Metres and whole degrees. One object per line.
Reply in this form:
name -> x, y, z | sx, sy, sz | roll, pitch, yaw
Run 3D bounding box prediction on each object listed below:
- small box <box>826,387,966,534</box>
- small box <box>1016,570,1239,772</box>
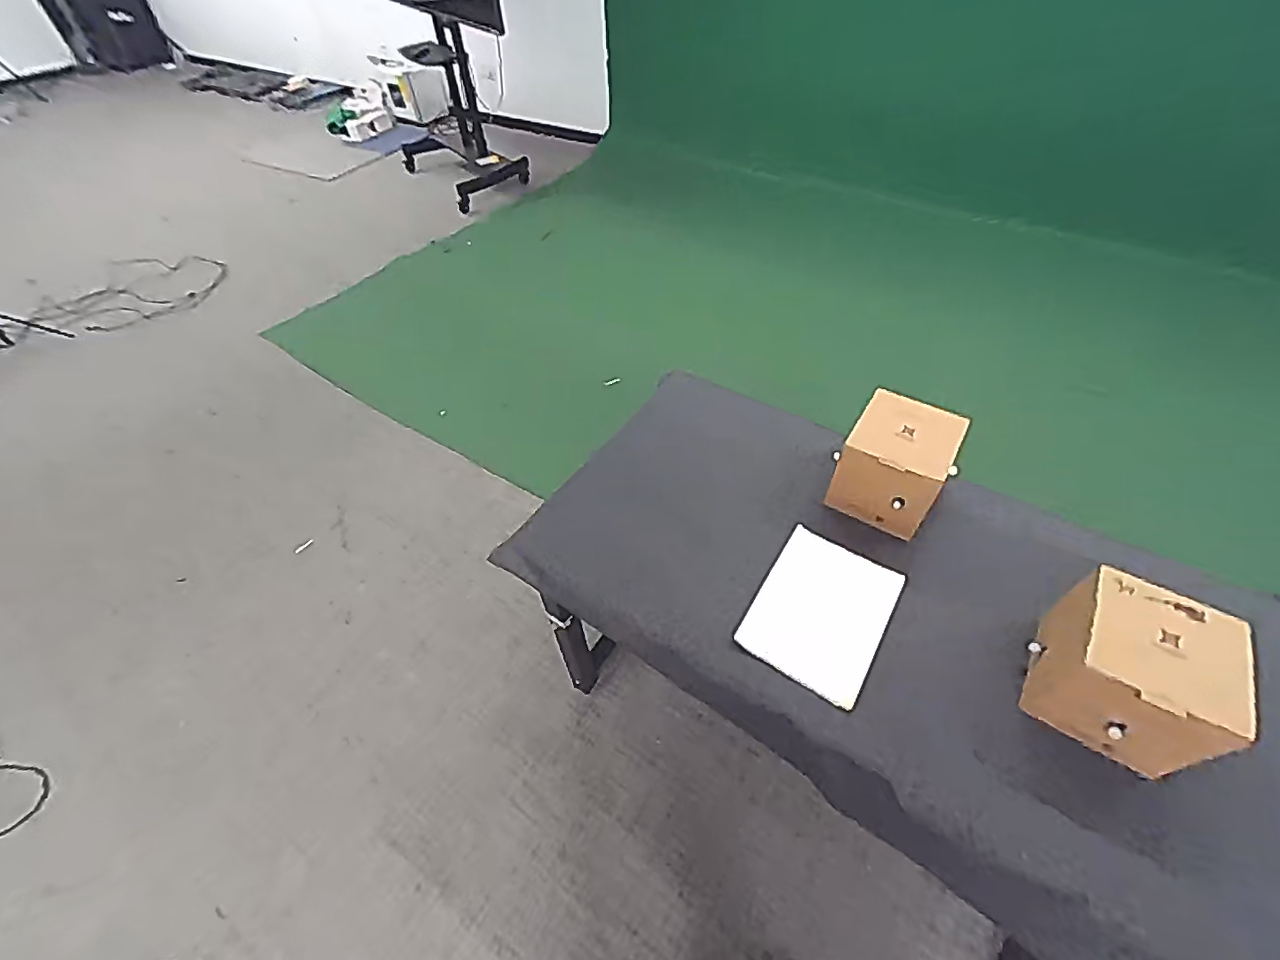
small box -> 0.456, -0.033, 0.986 | 0.168, 0.176, 0.179 | 26, 55, 21
small box -> 0.654, 0.265, 0.743 | 0.168, 0.176, 0.179 | 27, 56, 23
